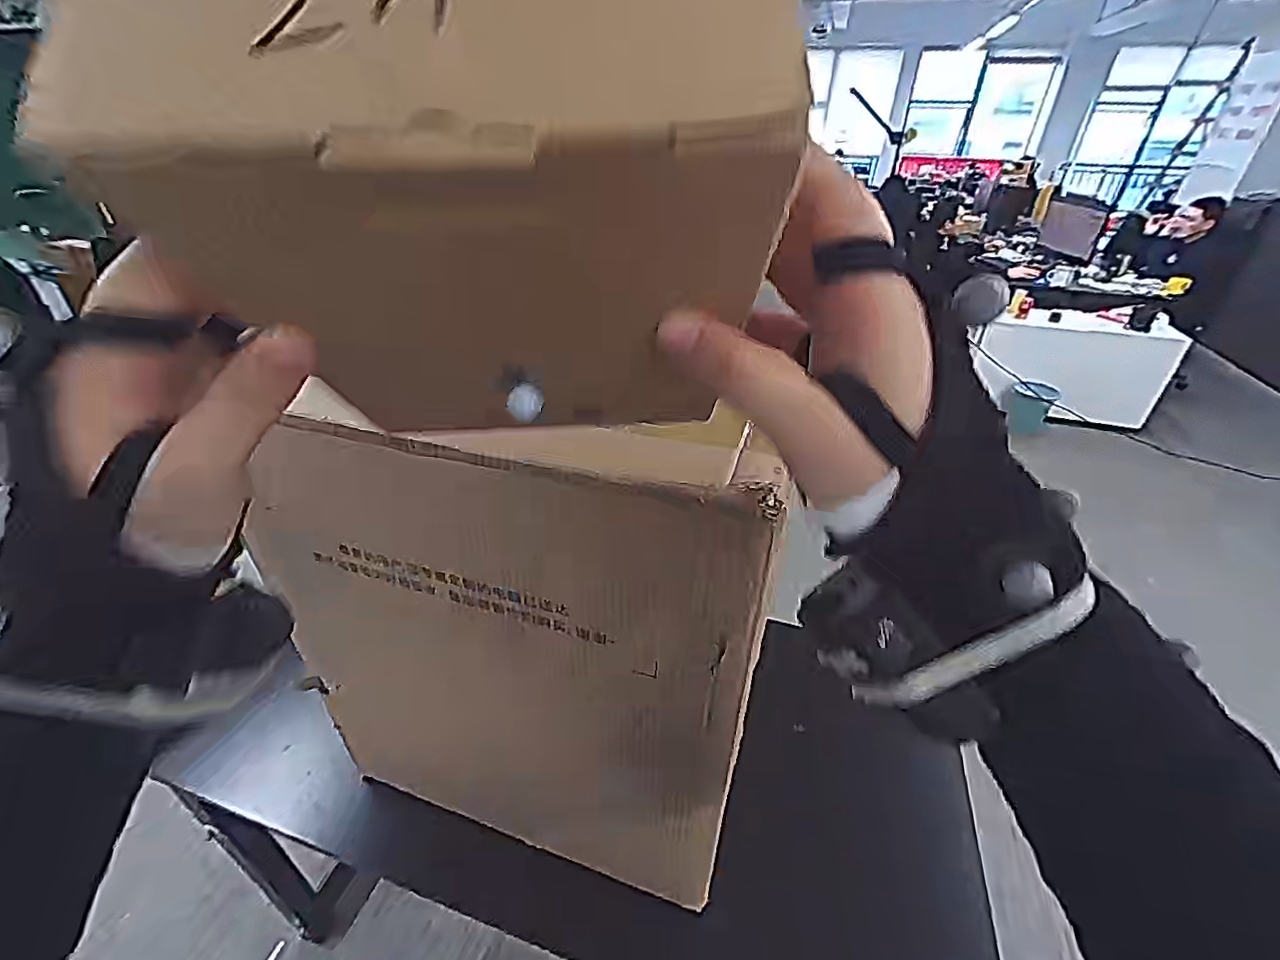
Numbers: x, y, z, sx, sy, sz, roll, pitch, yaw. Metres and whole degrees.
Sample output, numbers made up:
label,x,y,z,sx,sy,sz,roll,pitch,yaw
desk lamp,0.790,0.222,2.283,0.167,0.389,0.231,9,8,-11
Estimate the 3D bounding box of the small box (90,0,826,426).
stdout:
label,x,y,z,sx,sy,sz,roll,pitch,yaw
small box,-0.042,-0.136,0.221,0.168,0.176,0.179,-2,73,0
